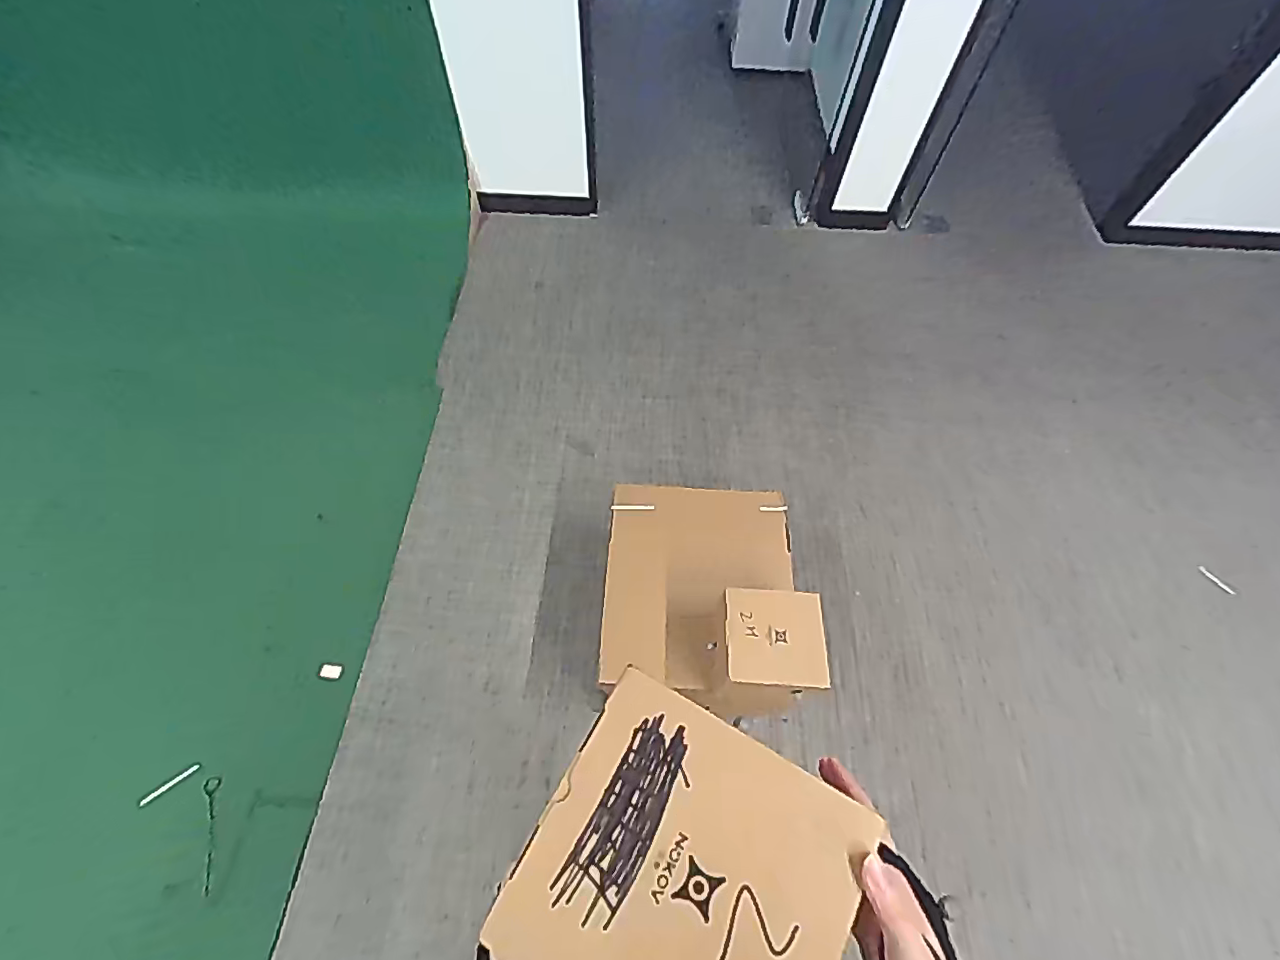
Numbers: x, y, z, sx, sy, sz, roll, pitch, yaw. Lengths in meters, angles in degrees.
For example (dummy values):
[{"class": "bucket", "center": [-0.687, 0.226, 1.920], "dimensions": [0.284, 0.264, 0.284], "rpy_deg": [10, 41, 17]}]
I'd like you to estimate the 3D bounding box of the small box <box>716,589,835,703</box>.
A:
[{"class": "small box", "center": [0.241, 0.314, 1.006], "dimensions": [0.179, 0.176, 0.168], "rpy_deg": [4, 59, 1]}]
